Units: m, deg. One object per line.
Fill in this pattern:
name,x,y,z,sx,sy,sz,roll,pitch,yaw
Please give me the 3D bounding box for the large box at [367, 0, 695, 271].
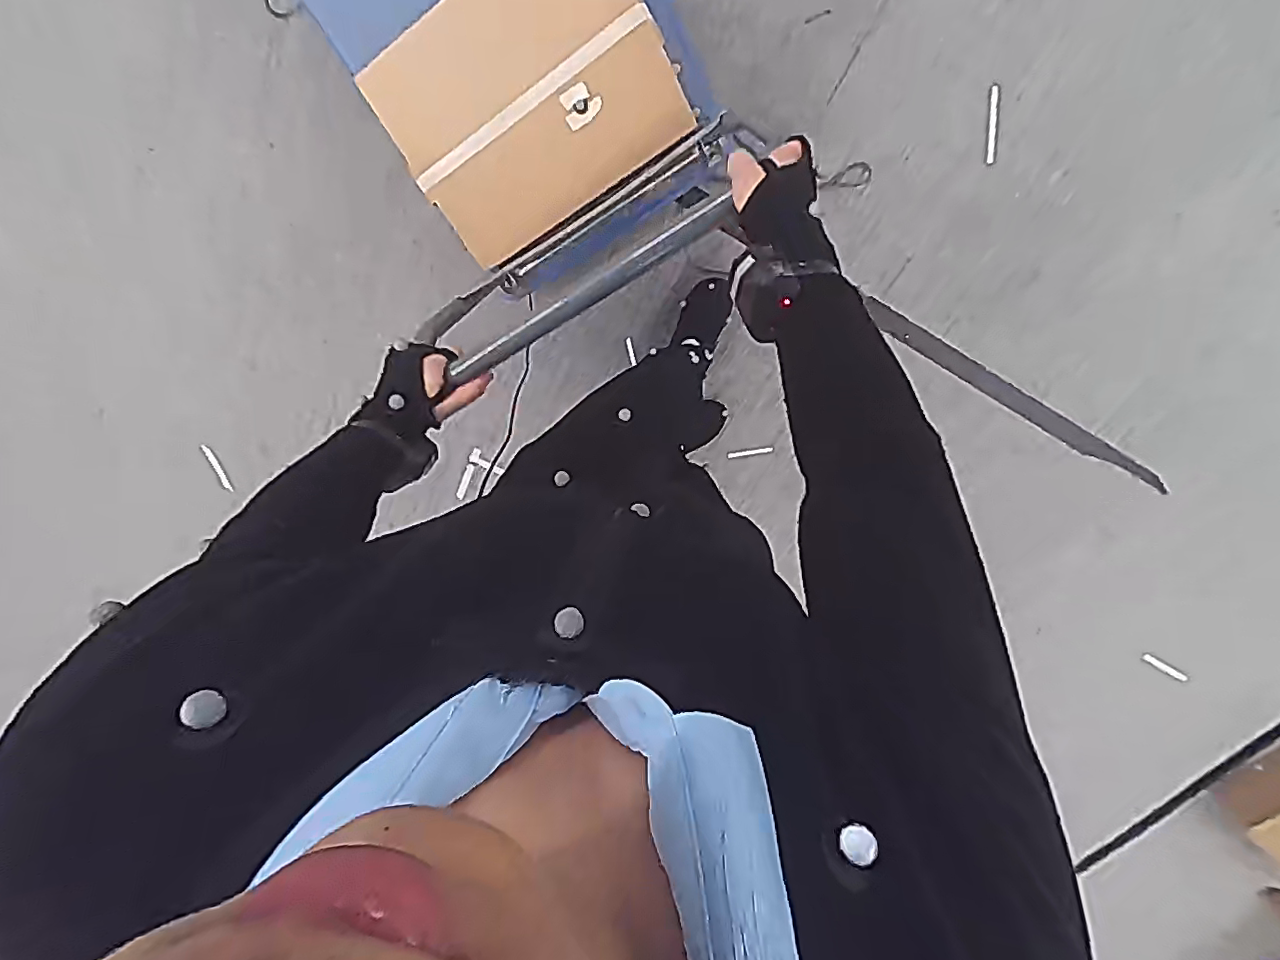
large box,-0.158,-0.620,0.934,0.408,0.320,0.320,-28,113,15
